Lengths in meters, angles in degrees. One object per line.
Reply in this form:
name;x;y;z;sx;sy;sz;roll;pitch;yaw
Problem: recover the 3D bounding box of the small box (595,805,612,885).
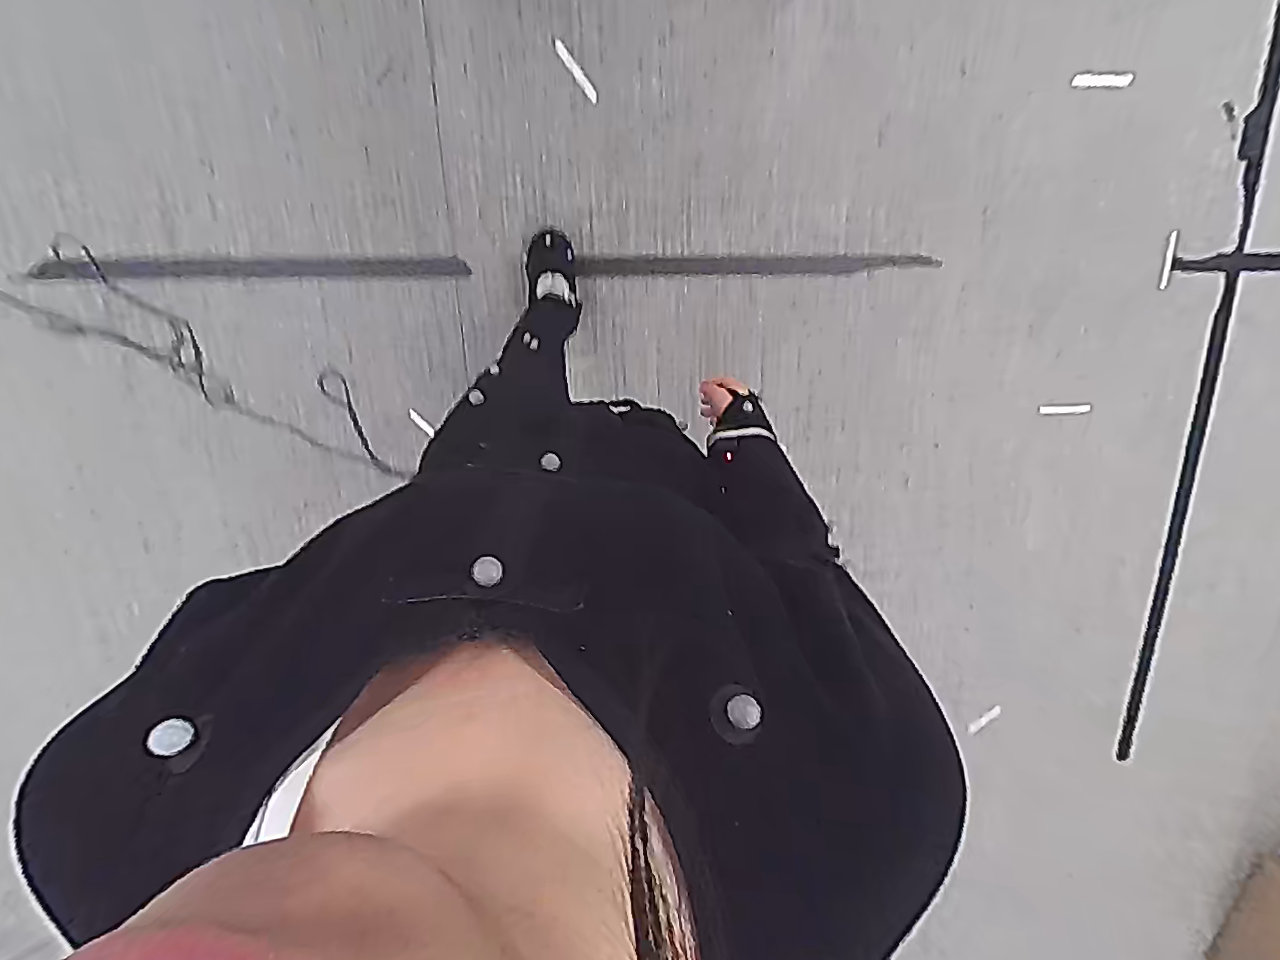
small box;-0.183;1.119;1.642;0.168;0.176;0.179;-10;104;-2
